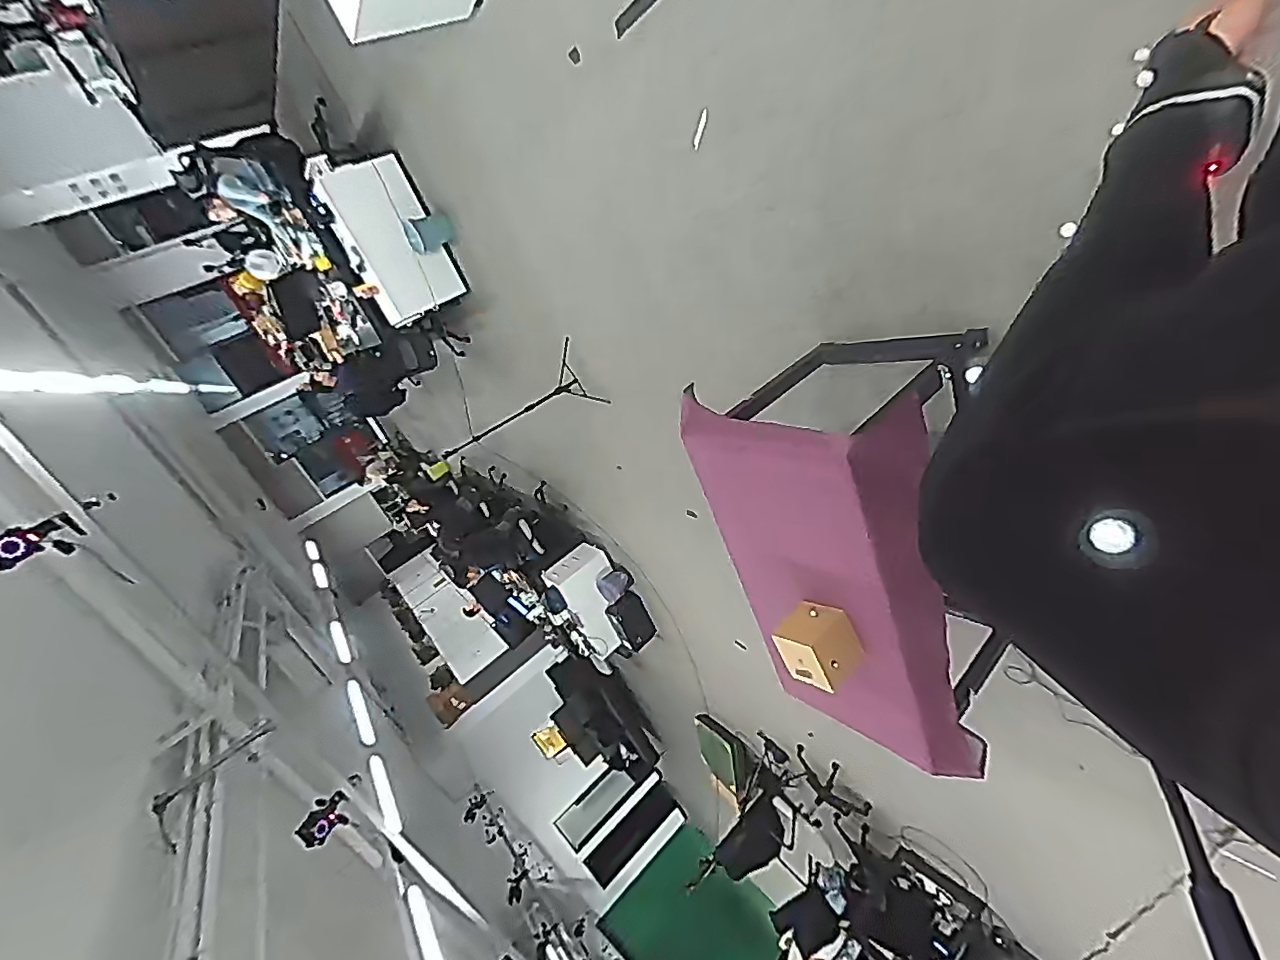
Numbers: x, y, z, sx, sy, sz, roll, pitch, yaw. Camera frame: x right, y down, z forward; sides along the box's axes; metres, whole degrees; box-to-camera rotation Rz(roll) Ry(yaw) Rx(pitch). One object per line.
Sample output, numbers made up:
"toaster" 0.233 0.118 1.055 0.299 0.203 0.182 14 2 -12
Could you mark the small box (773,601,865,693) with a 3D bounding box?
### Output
"small box" 0.542 0.496 1.627 0.168 0.176 0.179 -2 120 61
